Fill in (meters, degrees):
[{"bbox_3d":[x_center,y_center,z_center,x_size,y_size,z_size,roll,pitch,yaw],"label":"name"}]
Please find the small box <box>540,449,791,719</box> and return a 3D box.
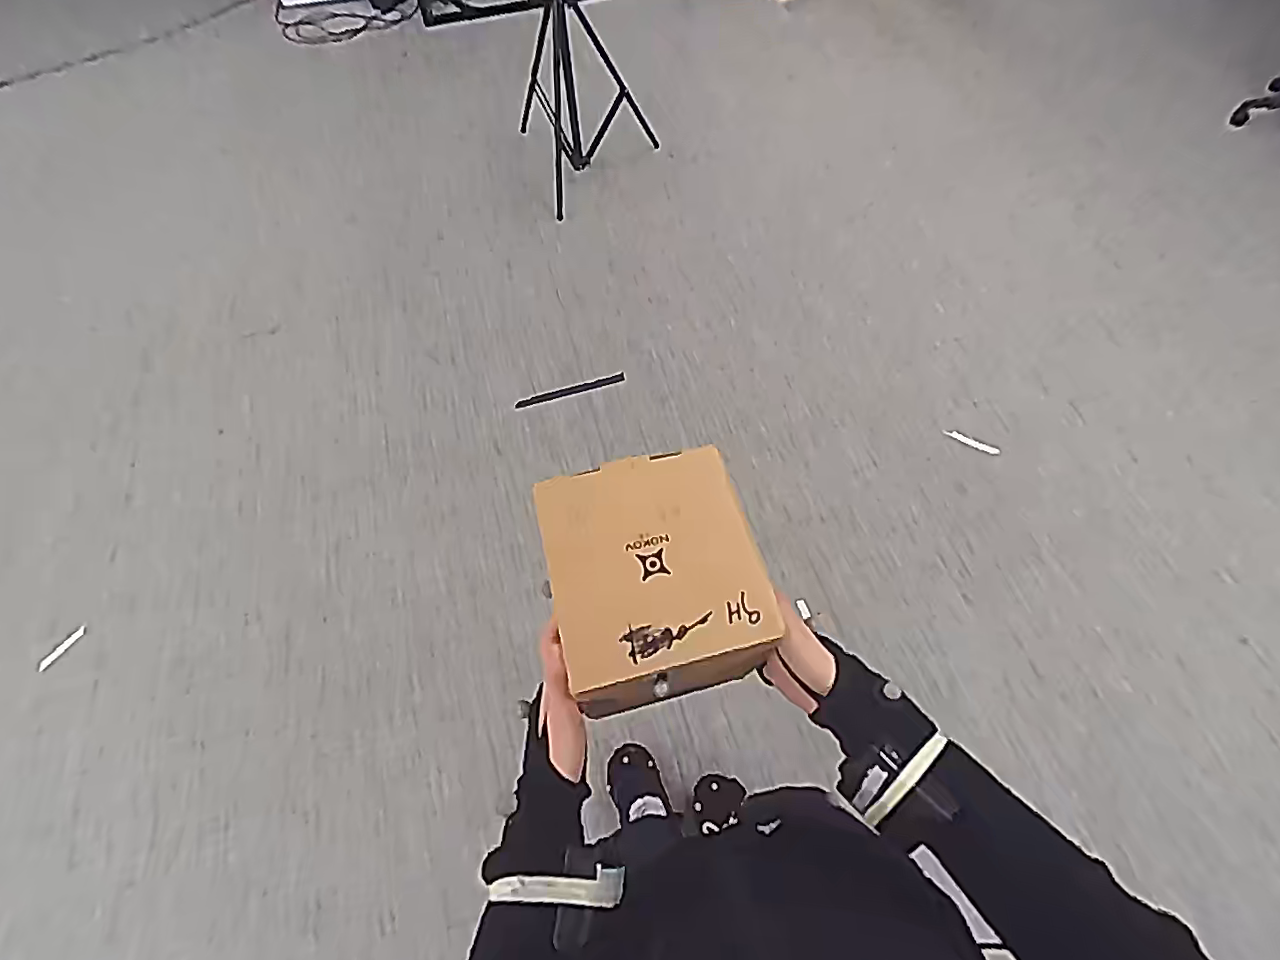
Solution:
[{"bbox_3d":[0.011,0.100,0.496,0.168,0.176,0.179,-12,61,-8],"label":"small box"}]
